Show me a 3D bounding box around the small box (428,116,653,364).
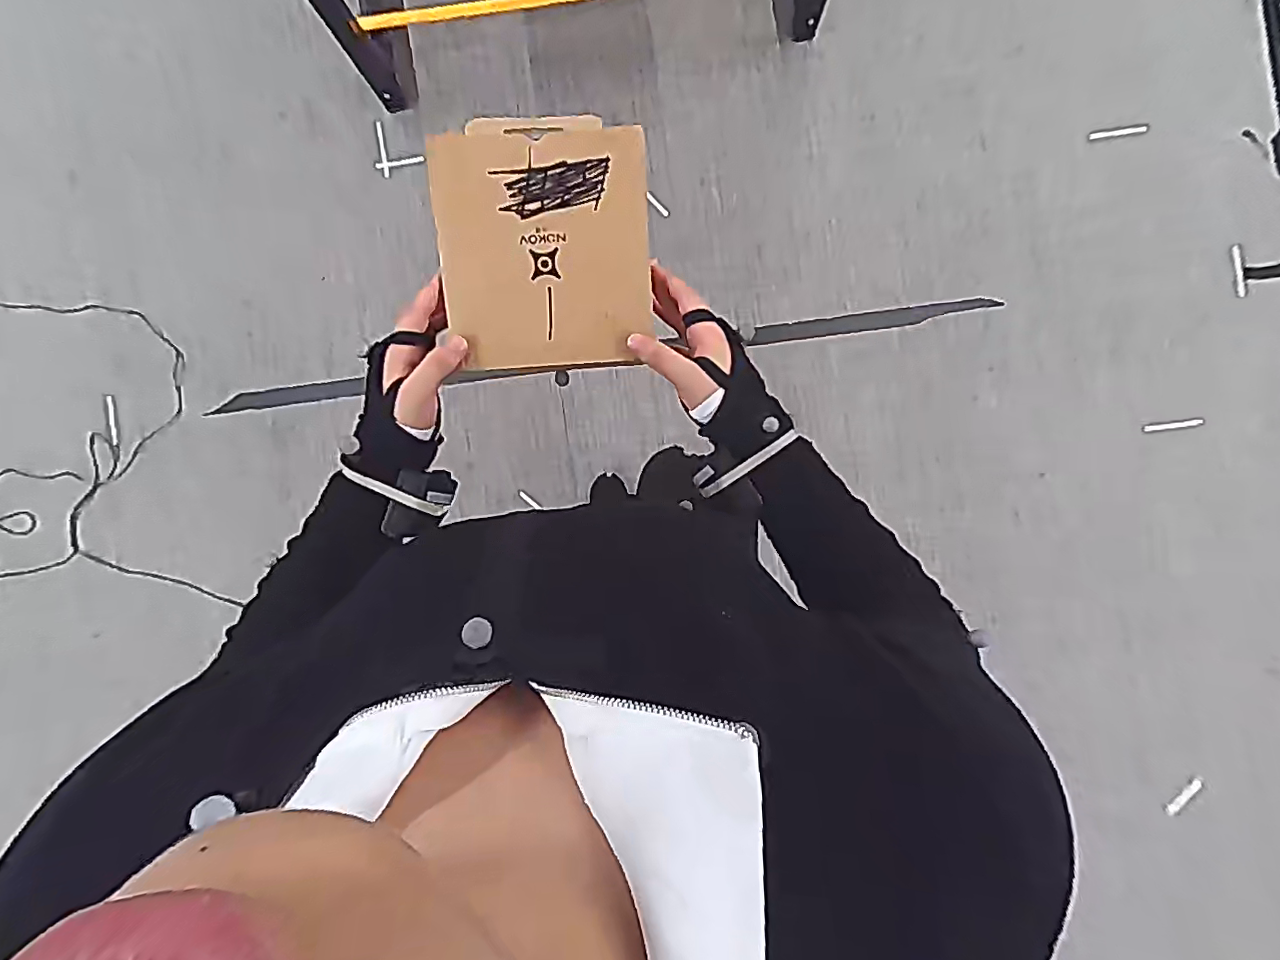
[{"bbox_3d":[-0.079,-0.203,0.503,0.168,0.176,0.179,-4,102,-2],"label":"small box"}]
